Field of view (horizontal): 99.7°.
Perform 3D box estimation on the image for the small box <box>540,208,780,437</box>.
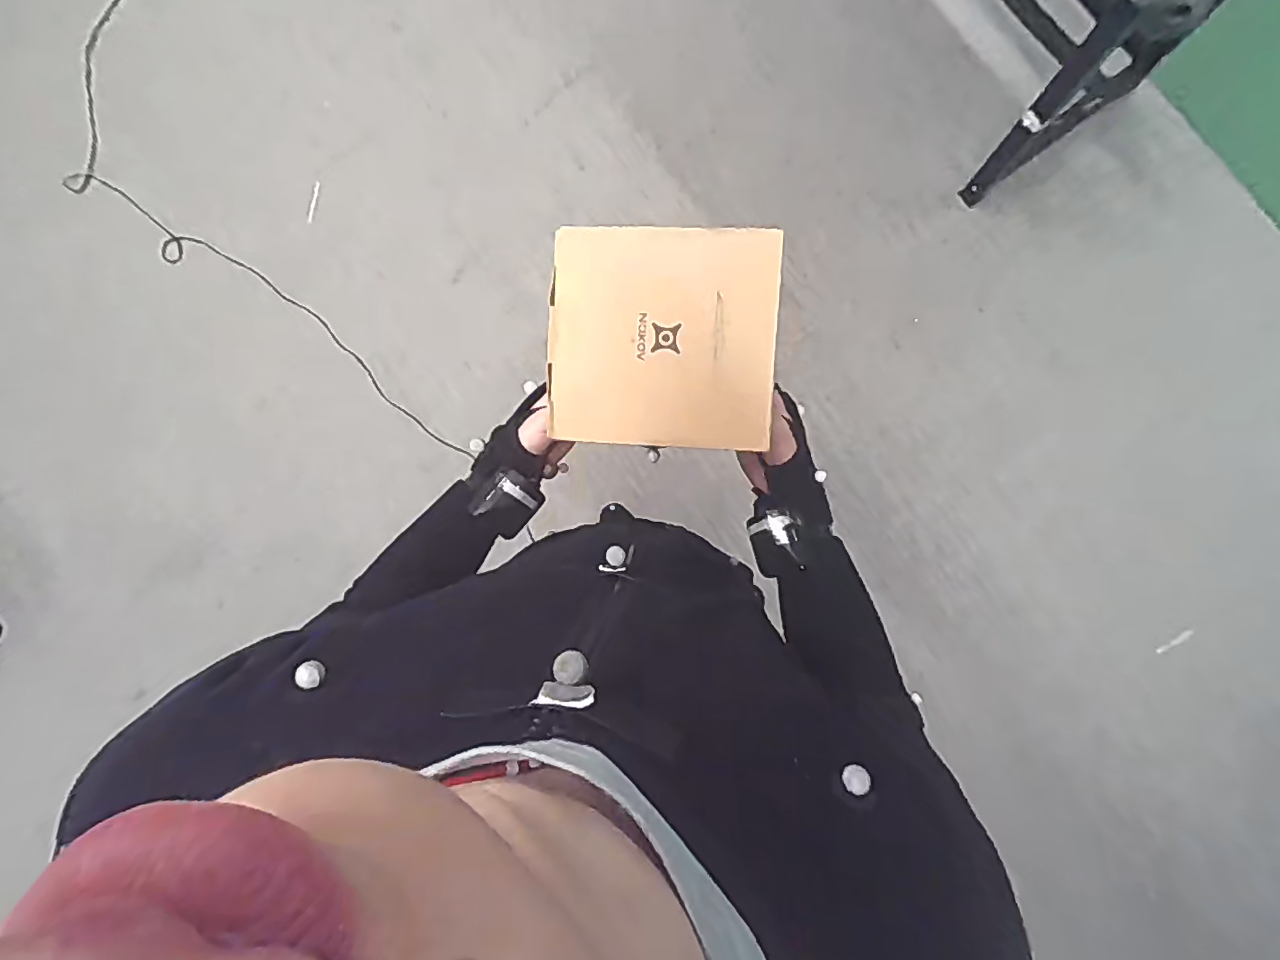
[{"bbox_3d":[0.020,-0.124,0.484,0.179,0.176,0.168,2,96,5],"label":"small box"}]
